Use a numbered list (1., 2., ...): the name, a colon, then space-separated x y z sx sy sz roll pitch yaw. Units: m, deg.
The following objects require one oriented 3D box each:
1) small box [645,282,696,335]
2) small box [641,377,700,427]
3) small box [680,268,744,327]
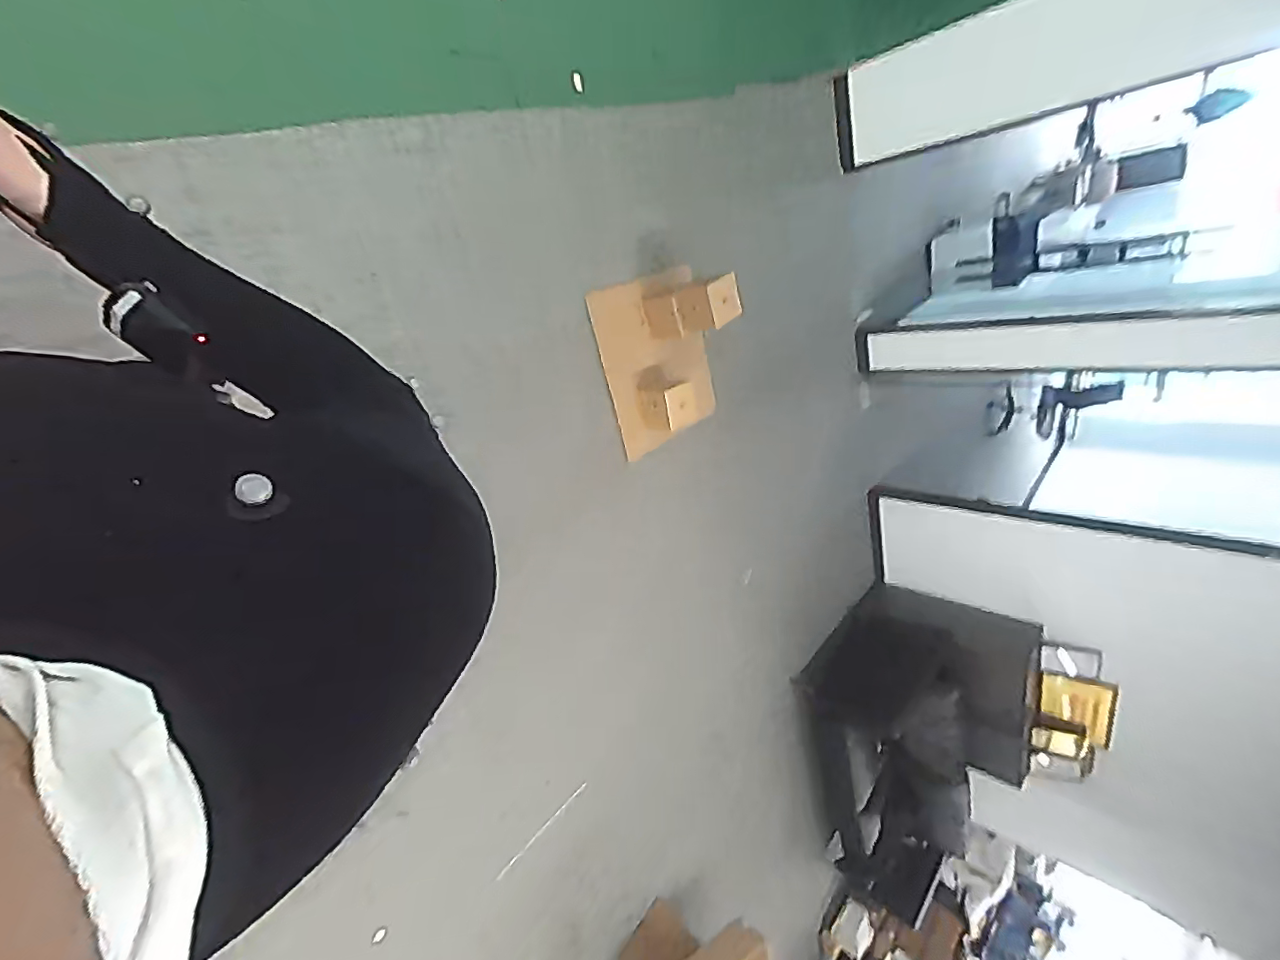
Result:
1. small box: 0.151 -0.699 2.196 0.179 0.176 0.168 -40 124 -32
2. small box: 0.119 -0.325 2.242 0.179 0.176 0.168 -30 118 -38
3. small box: 0.271 -0.697 2.080 0.179 0.176 0.168 -39 124 -33
